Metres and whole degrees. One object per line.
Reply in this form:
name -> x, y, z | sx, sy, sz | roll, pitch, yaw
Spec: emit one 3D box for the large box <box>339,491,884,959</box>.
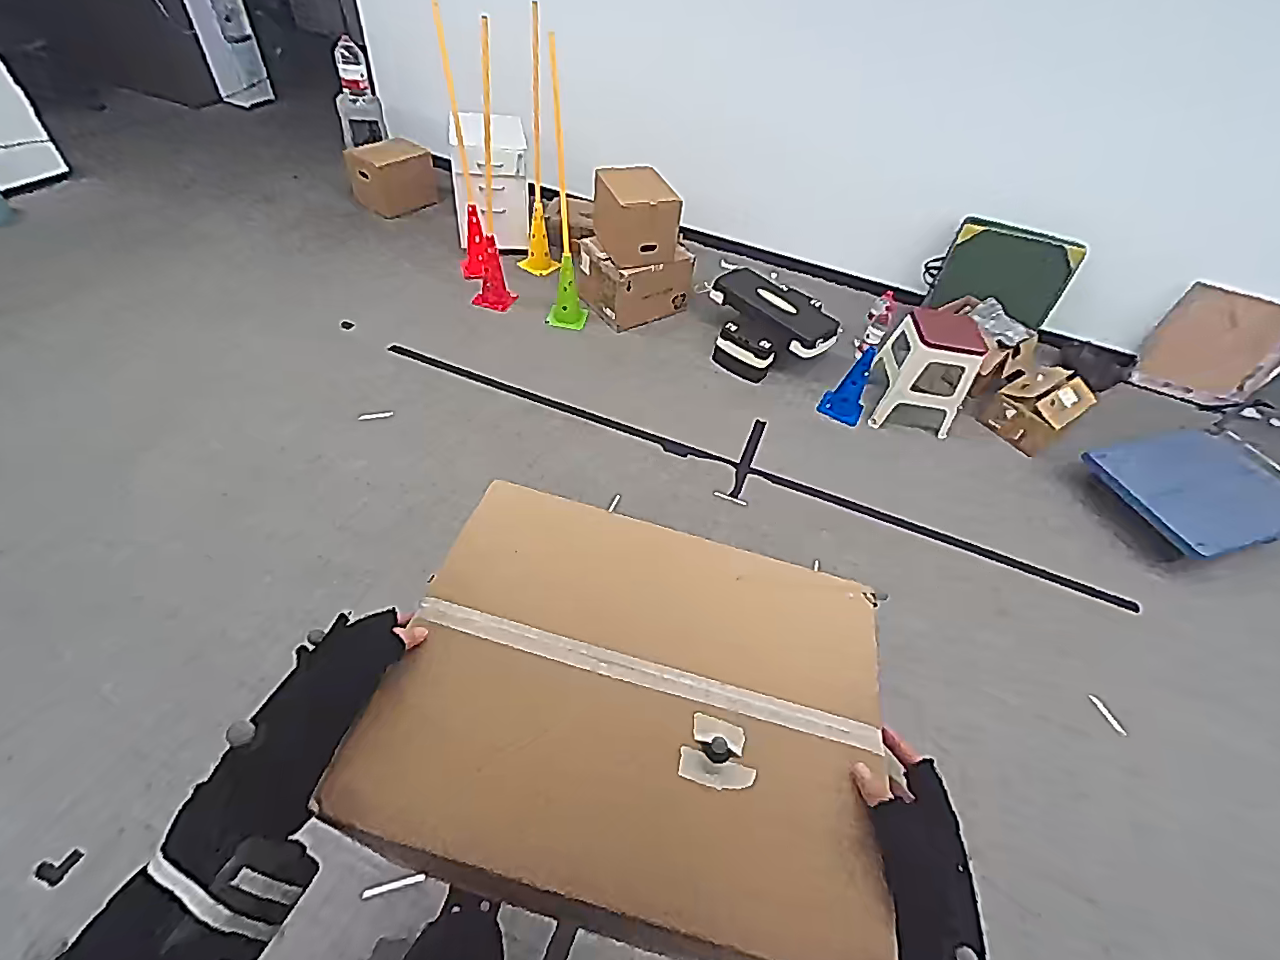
large box -> -0.016, 0.267, 0.582 | 0.408, 0.320, 0.320 | 16, 48, 3
